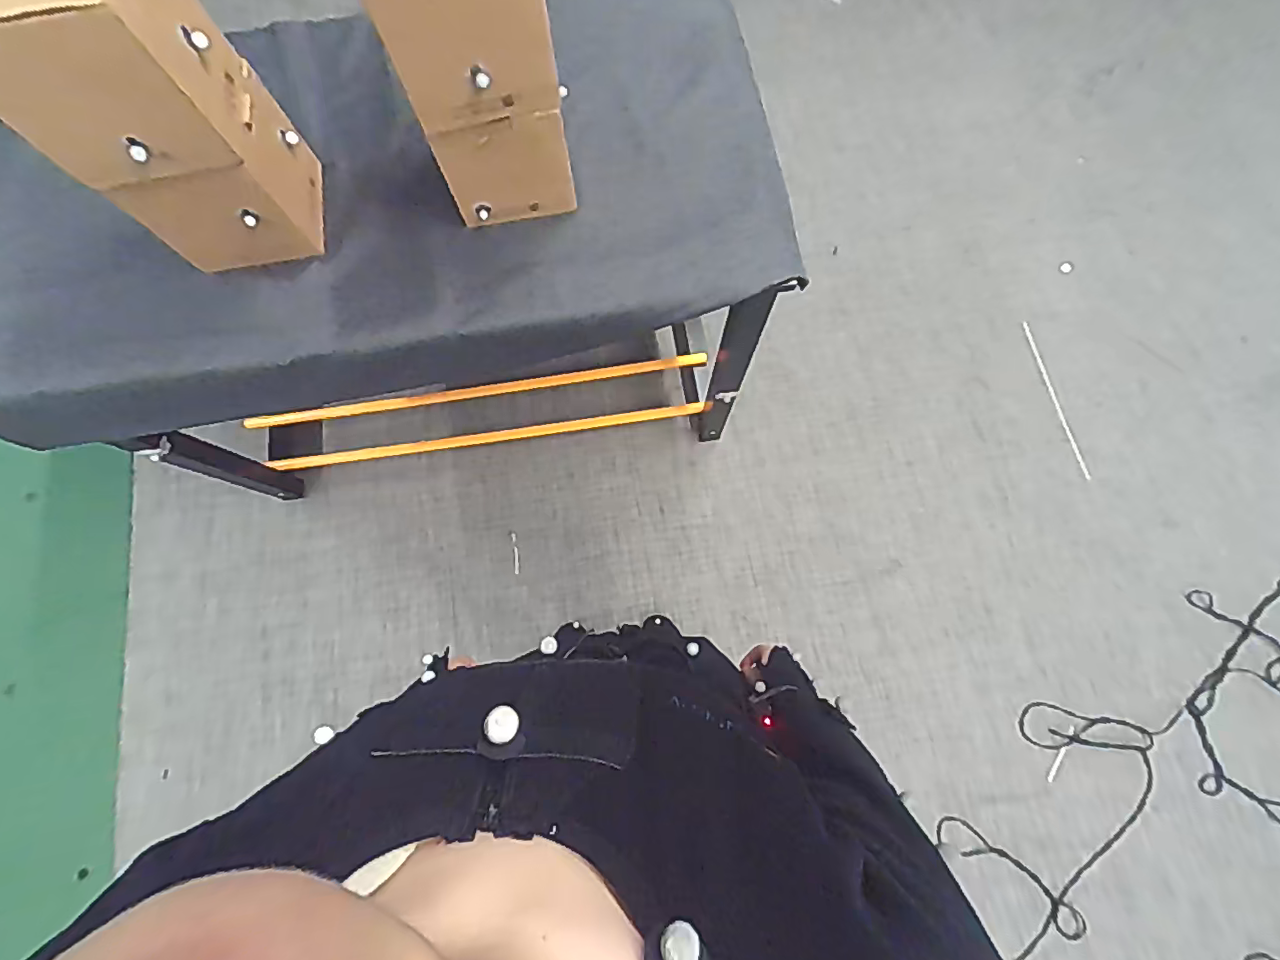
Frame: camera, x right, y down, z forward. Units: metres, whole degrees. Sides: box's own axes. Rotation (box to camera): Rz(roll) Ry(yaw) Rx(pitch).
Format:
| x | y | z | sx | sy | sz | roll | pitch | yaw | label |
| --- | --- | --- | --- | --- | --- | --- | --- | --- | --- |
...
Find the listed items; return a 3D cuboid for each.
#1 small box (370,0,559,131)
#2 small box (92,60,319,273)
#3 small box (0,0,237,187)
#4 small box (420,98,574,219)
| x | y | z | sx | sy | sz | roll | pitch | yaw | label |
| --- | --- | --- | --- | --- | --- | --- | --- | --- | --- |
| -0.194 | -0.522 | 0.576 | 0.168 | 0.176 | 0.179 | -15 | 76 | -3 | small box |
| -0.555 | -0.403 | 0.718 | 0.179 | 0.176 | 0.168 | -10 | 74 | -2 | small box |
| -0.555 | -0.441 | 0.558 | 0.179 | 0.176 | 0.168 | -13 | 74 | -4 | small box |
| -0.190 | -0.483 | 0.736 | 0.168 | 0.176 | 0.179 | -10 | 75 | -2 | small box |
